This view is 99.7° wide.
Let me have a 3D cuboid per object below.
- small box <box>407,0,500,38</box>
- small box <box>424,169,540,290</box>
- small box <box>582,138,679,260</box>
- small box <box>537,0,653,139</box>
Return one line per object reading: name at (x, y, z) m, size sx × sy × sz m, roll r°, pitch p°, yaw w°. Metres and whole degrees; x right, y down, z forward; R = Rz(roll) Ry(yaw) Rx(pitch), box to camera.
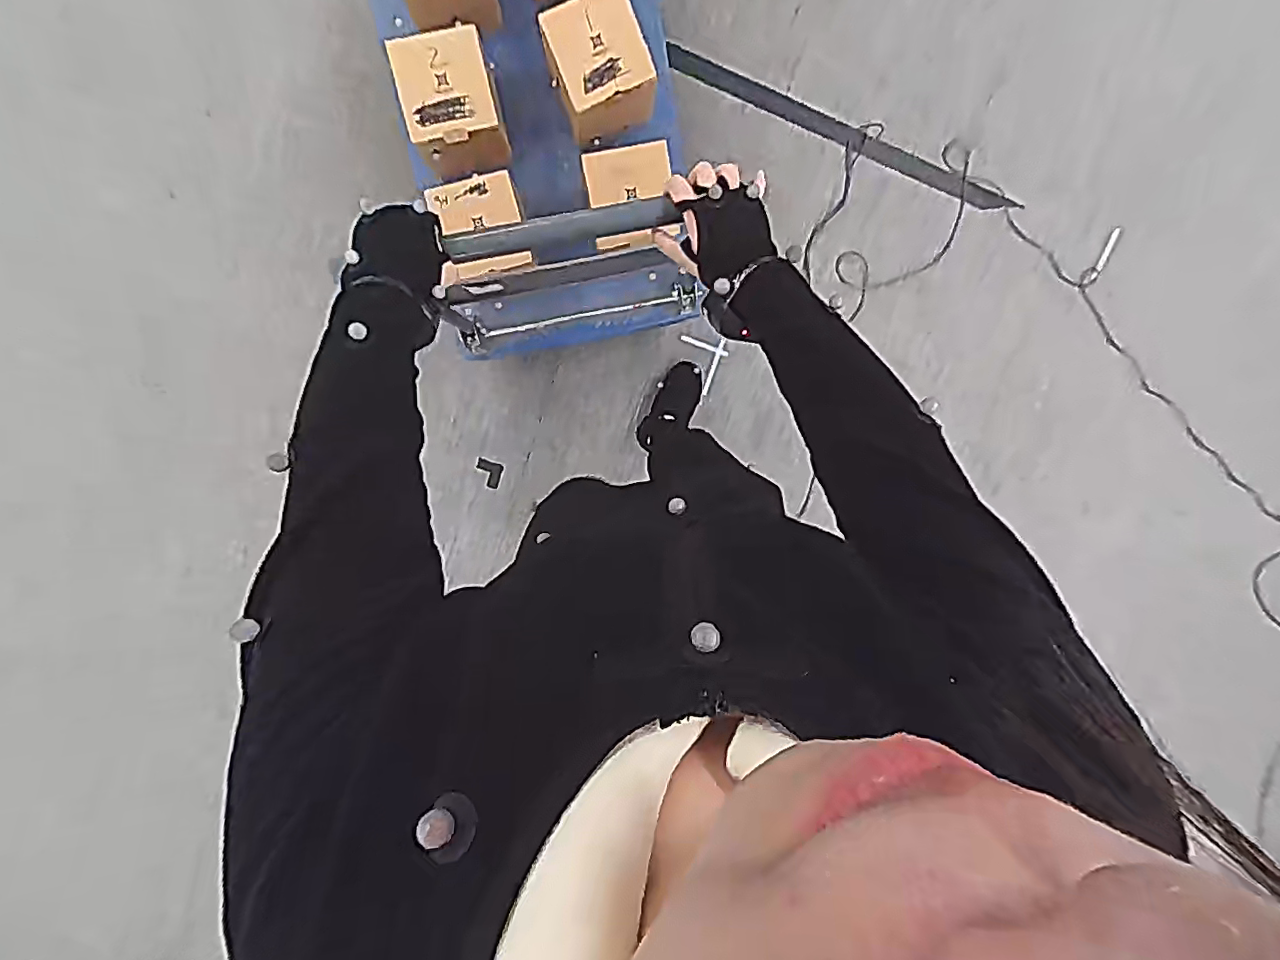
small box at (-0.372, -0.986, 1.015) m, size 0.168 × 0.176 × 0.179 m, roll -10°, pitch 101°, yaw -1°
small box at (-0.311, -0.500, 1.108) m, size 0.168 × 0.176 × 0.179 m, roll -15°, pitch 101°, yaw -1°
small box at (-0.020, -0.565, 1.114) m, size 0.168 × 0.176 × 0.179 m, roll -11°, pitch 100°, yaw -2°
small box at (-0.083, -0.810, 1.065) m, size 0.168 × 0.176 × 0.179 m, roll -23°, pitch 100°, yaw 1°
